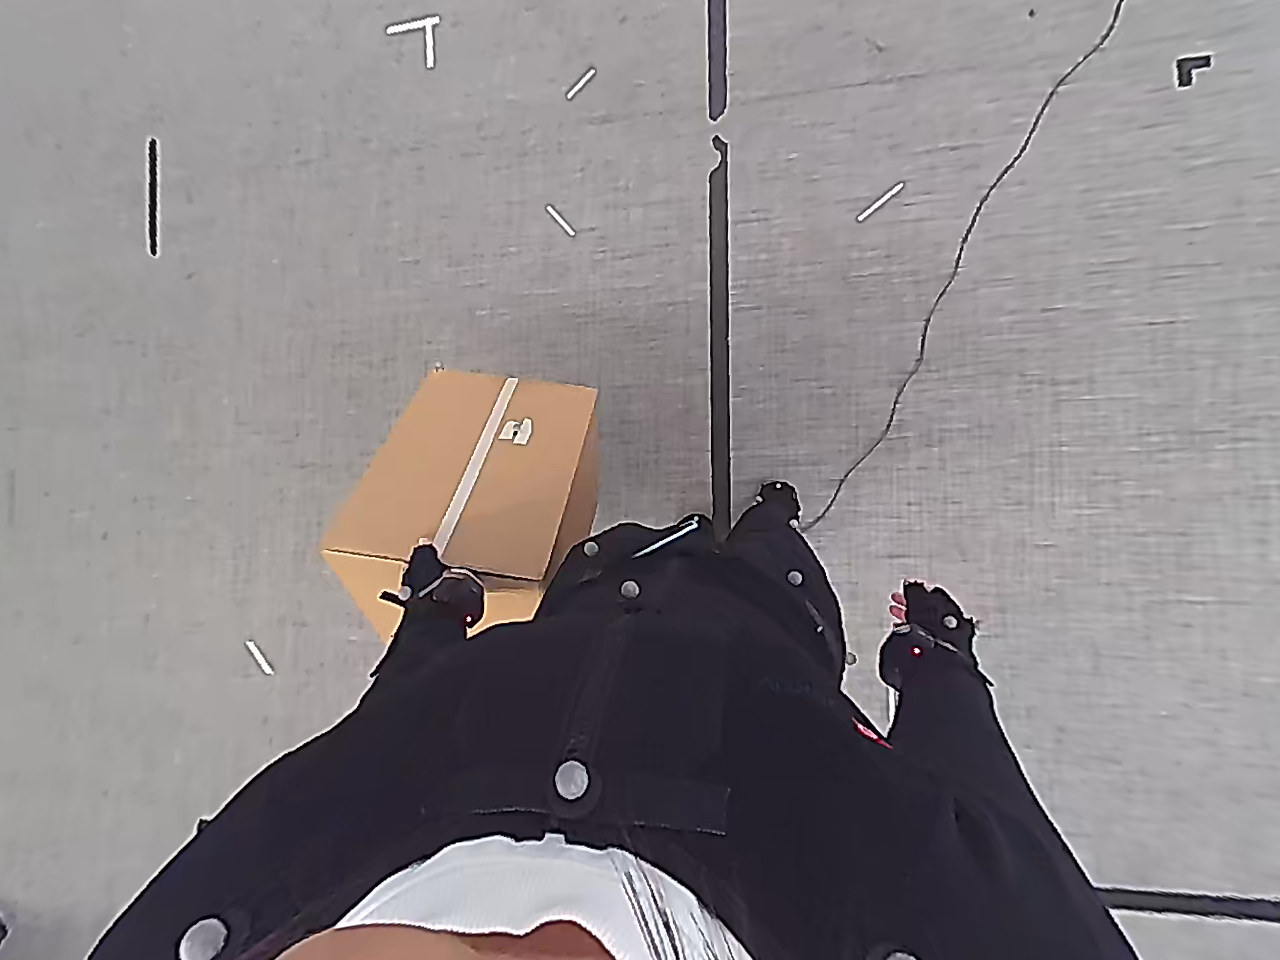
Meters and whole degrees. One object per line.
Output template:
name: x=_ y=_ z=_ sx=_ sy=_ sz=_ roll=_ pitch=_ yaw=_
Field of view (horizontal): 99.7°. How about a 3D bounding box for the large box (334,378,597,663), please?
large box: x=-0.265 y=0.070 z=0.989 sx=0.320 sy=0.320 sz=0.408 roll=8 pitch=48 yaw=3
